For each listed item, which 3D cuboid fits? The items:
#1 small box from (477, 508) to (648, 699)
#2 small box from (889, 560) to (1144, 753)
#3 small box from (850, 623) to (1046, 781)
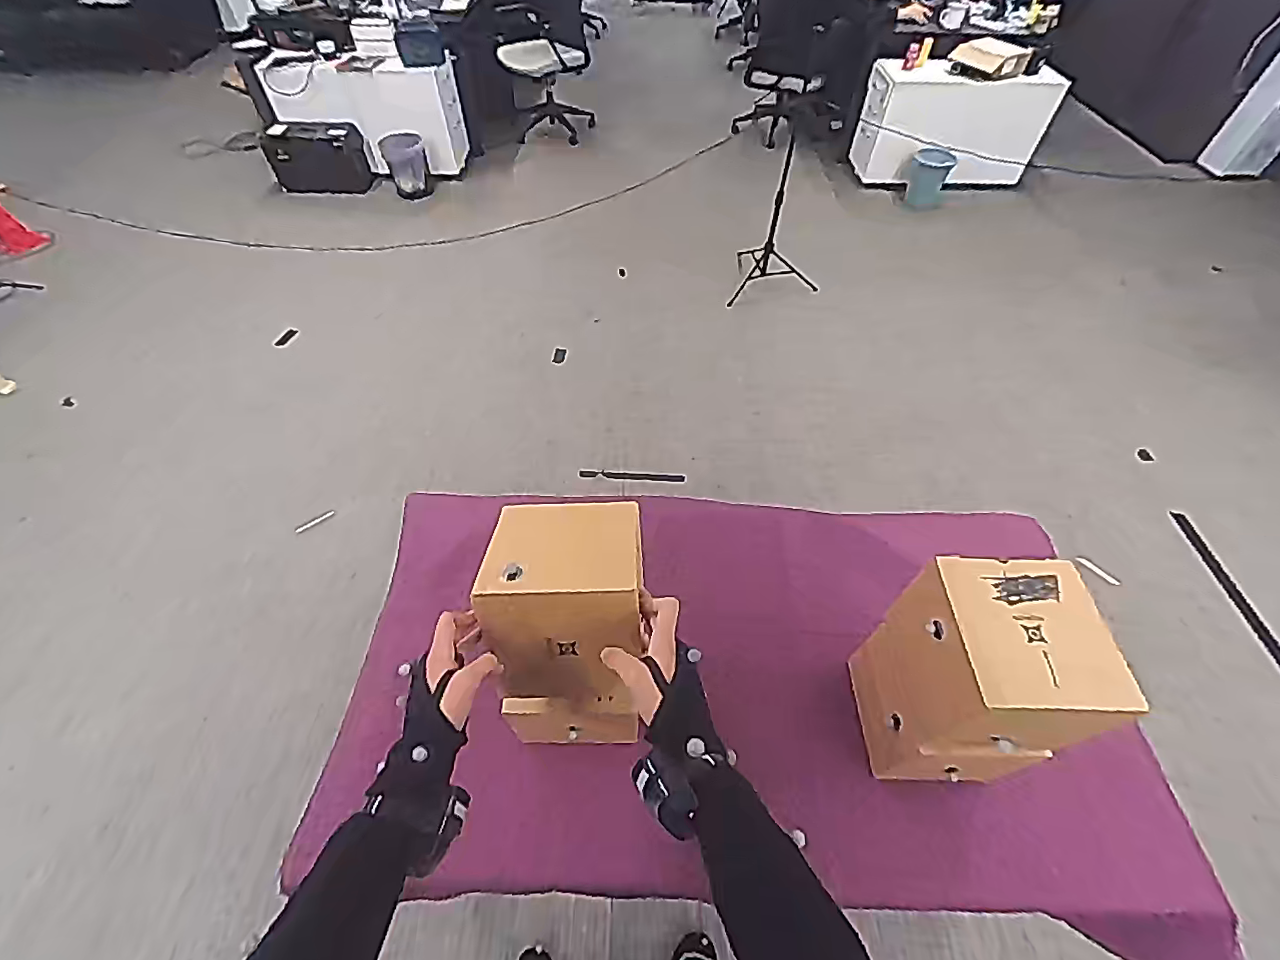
[{"bbox_3d":[-0.080,0.146,0.666,0.179,0.168,0.176,-1,32,2],"label":"small box"},{"bbox_3d":[0.427,0.216,0.658,0.168,0.176,0.179,2,53,1],"label":"small box"},{"bbox_3d":[0.424,0.324,0.781,0.168,0.176,0.179,2,52,0],"label":"small box"}]
